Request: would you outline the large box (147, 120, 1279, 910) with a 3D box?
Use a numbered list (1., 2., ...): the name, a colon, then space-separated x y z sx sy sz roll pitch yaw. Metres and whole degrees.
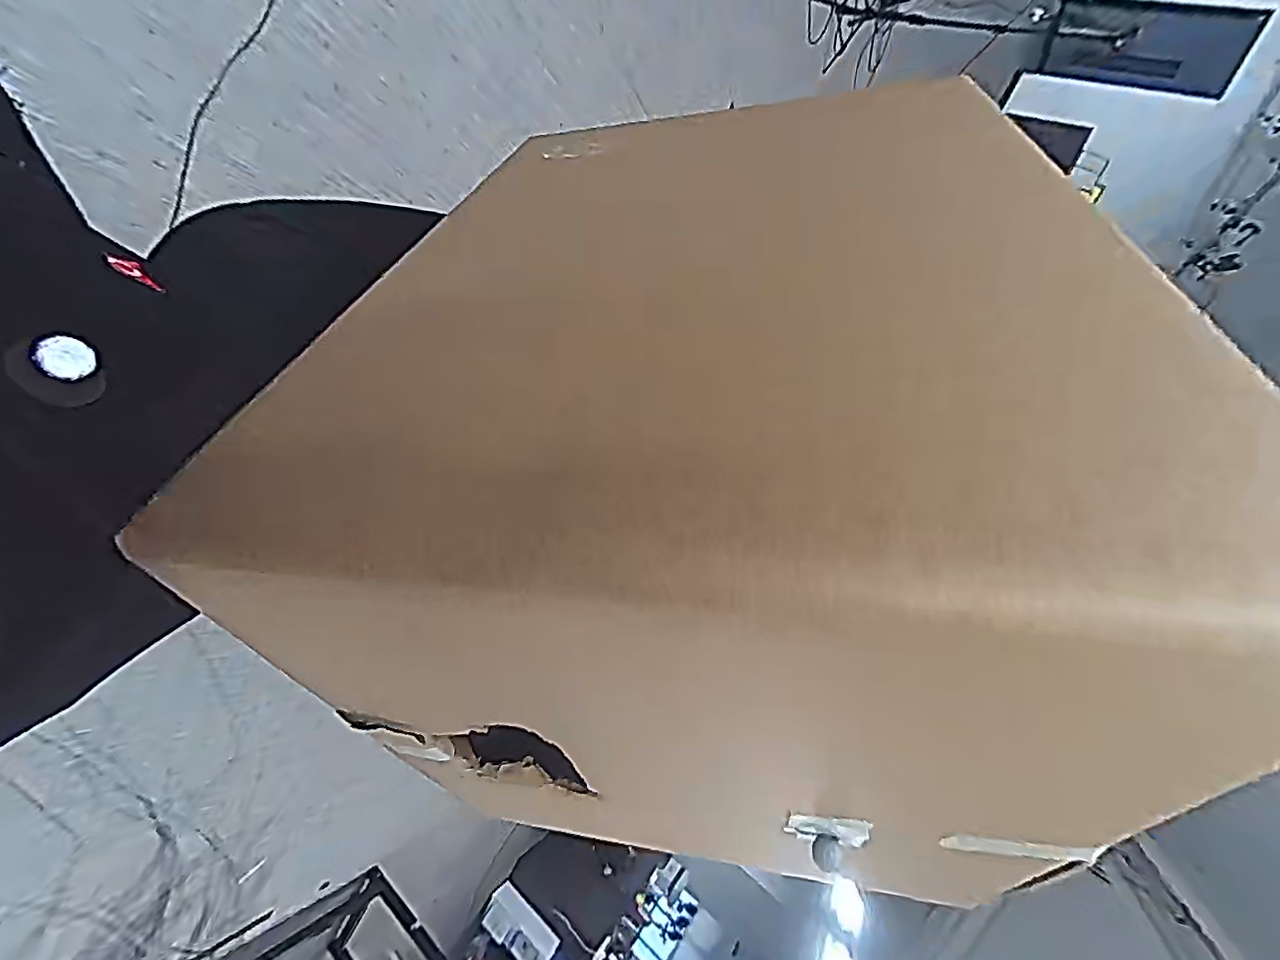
1. large box: 0.046 -0.007 0.372 0.320 0.320 0.408 80 19 -45
